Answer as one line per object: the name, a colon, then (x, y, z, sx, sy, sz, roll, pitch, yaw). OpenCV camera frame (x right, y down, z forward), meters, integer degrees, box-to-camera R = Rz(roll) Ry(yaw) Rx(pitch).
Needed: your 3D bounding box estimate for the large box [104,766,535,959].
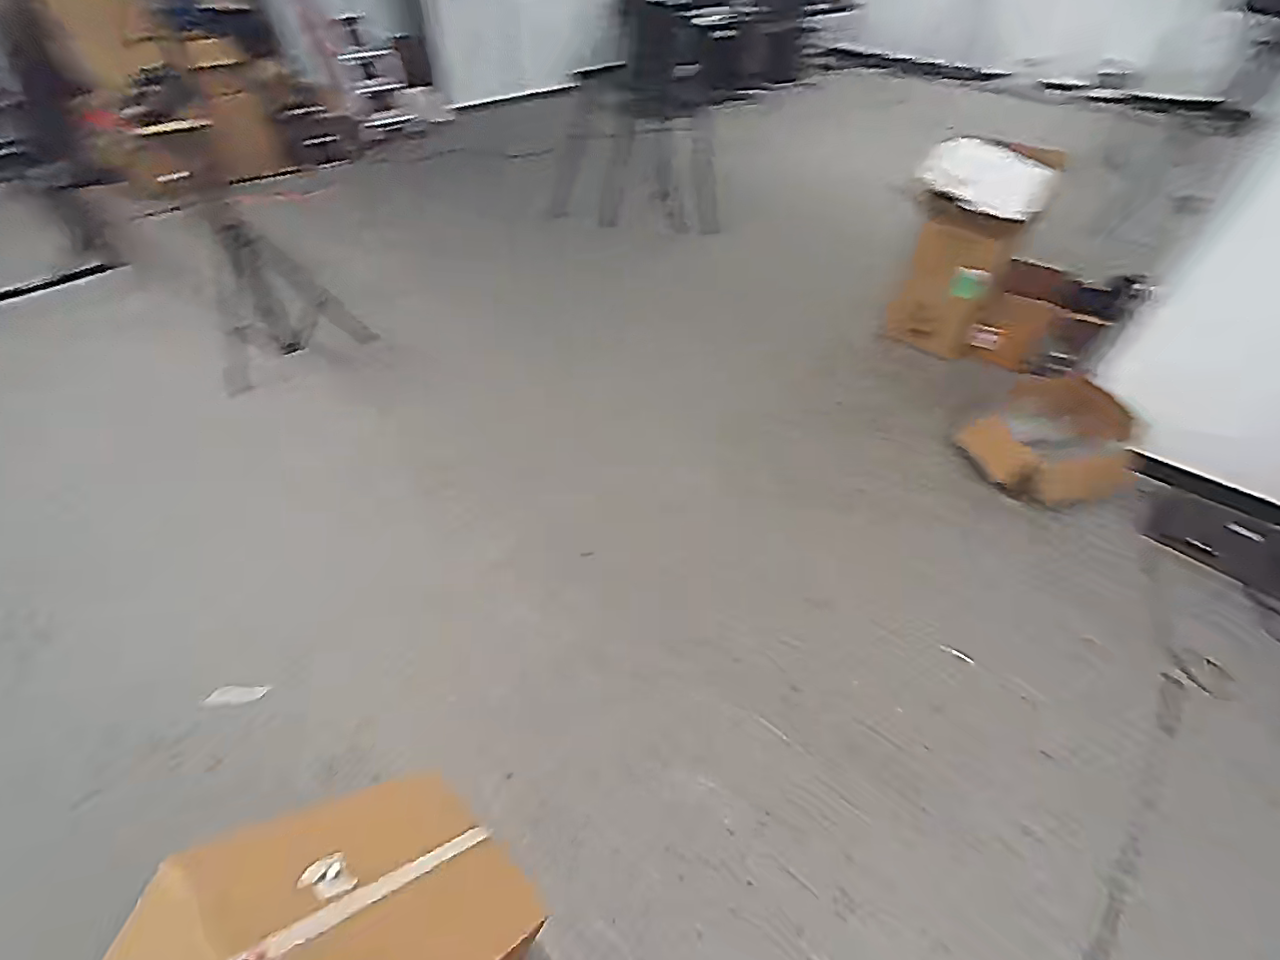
large box: (-0.425, 0.667, 0.721, 0.320, 0.408, 0.320, 32, 93, 27)
